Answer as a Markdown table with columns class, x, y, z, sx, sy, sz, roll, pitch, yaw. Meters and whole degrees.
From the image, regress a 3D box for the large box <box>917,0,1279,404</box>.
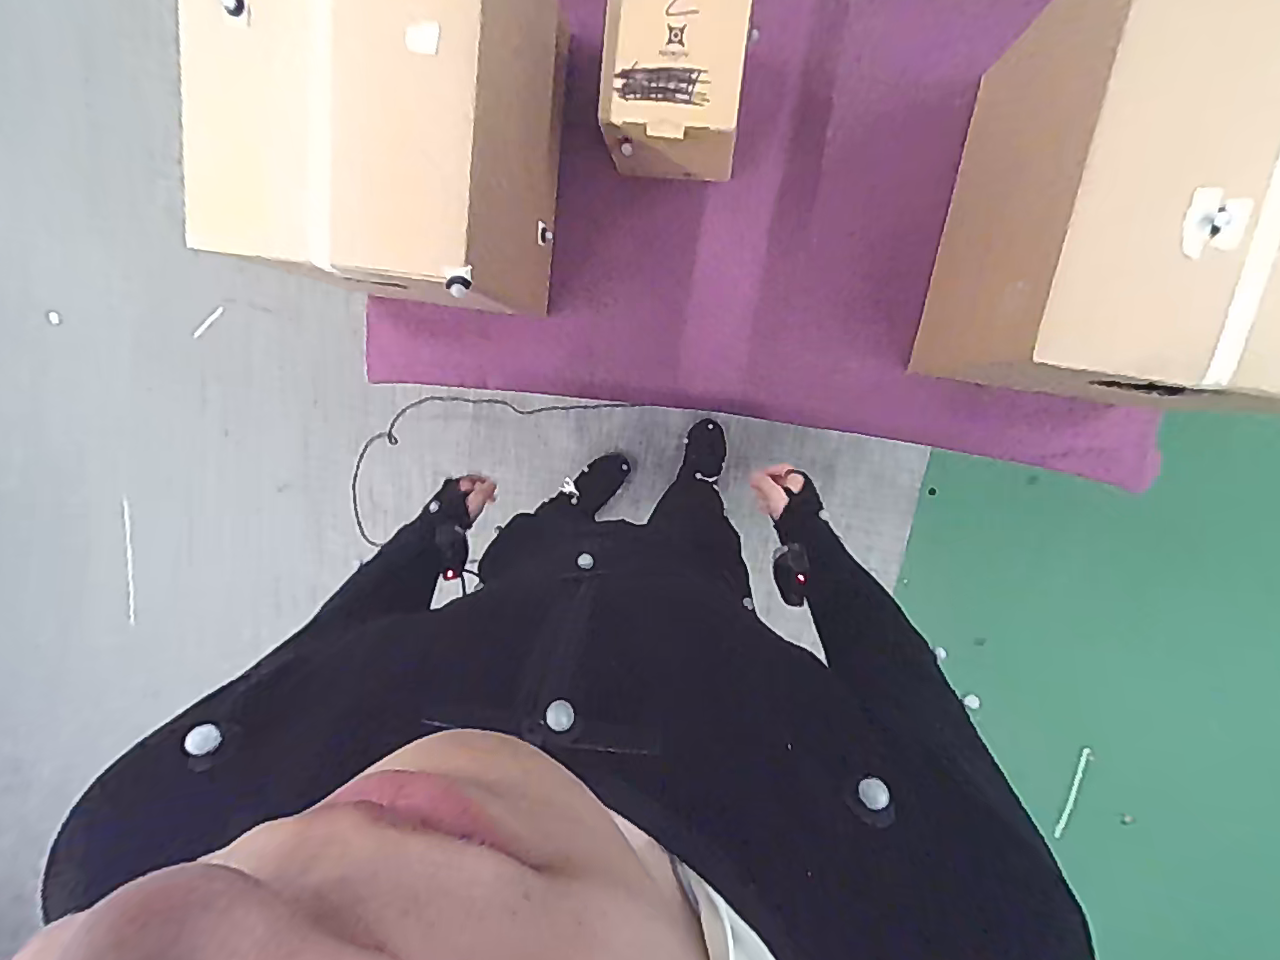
| class | x | y | z | sx | sy | sz | roll | pitch | yaw |
| --- | --- | --- | --- | --- | --- | --- | --- | --- | --- |
| large box | 0.567 | -0.308 | 0.610 | 0.320 | 0.320 | 0.408 | 9 | 101 | 5 |
